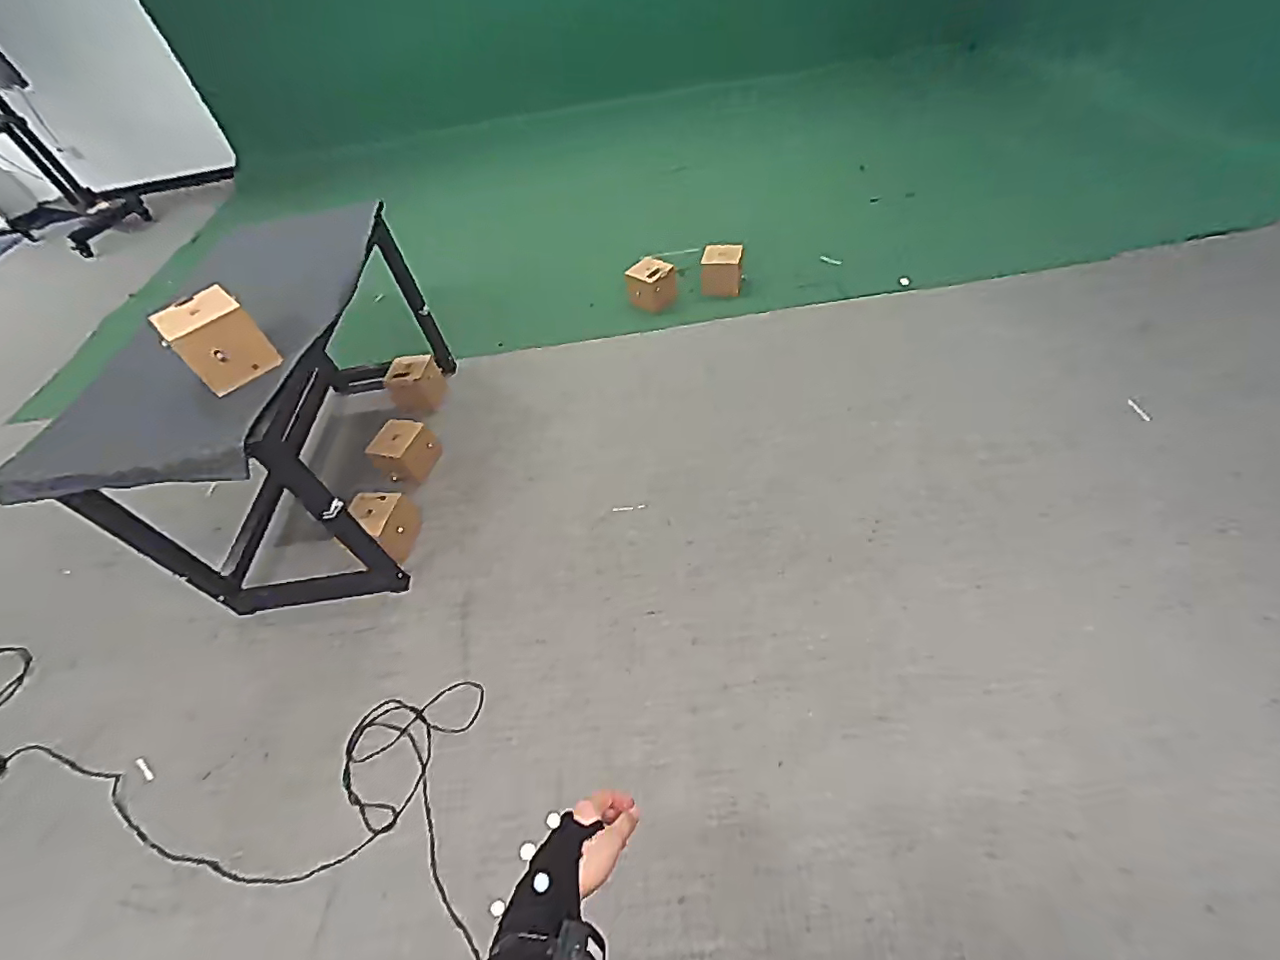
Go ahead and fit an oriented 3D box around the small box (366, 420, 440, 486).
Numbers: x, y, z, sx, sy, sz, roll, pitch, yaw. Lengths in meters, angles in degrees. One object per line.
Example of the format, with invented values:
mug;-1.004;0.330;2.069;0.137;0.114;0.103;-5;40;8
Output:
small box;-0.889;-0.102;2.053;0.168;0.176;0.179;8;54;16

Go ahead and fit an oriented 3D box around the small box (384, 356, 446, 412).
small box;-0.956;-0.406;2.314;0.168;0.176;0.179;-3;49;6

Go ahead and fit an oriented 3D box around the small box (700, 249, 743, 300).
small box;0.390;-0.975;2.568;0.179;0.176;0.168;8;53;14

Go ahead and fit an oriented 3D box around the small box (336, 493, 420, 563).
small box;-0.877;0.165;1.831;0.168;0.176;0.179;2;52;10

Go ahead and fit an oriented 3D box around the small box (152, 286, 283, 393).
small box;-1.020;-0.338;1.319;0.179;0.176;0.168;33;62;31
